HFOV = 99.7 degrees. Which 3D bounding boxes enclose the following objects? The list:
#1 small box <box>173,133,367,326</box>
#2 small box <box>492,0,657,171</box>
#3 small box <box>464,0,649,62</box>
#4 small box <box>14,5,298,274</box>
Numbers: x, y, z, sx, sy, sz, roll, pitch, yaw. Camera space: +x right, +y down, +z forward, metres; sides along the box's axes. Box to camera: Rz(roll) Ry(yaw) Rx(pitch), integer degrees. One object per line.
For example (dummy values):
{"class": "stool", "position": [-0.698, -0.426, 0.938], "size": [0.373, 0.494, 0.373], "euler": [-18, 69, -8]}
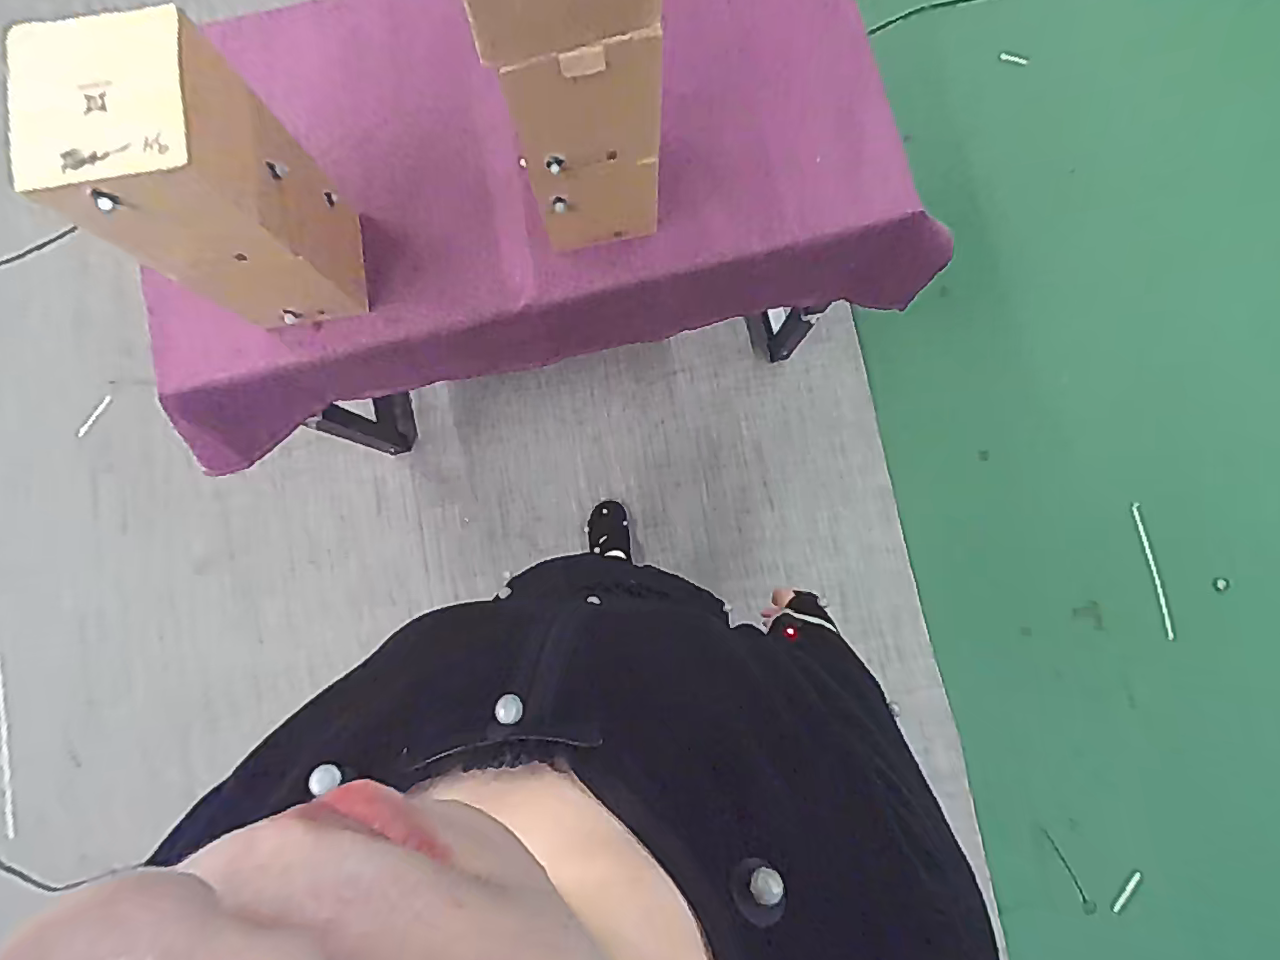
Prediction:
{"class": "small box", "position": [-0.509, -0.339, 0.760], "size": [0.168, 0.176, 0.179], "euler": [-9, 84, 0]}
{"class": "small box", "position": [-0.078, -0.481, 0.607], "size": [0.168, 0.176, 0.179], "euler": [-14, 82, -1]}
{"class": "small box", "position": [-0.084, -0.501, 0.445], "size": [0.179, 0.176, 0.168], "euler": [-16, 83, 0]}
{"class": "small box", "position": [-0.511, -0.358, 0.596], "size": [0.168, 0.176, 0.179], "euler": [-9, 83, 1]}
